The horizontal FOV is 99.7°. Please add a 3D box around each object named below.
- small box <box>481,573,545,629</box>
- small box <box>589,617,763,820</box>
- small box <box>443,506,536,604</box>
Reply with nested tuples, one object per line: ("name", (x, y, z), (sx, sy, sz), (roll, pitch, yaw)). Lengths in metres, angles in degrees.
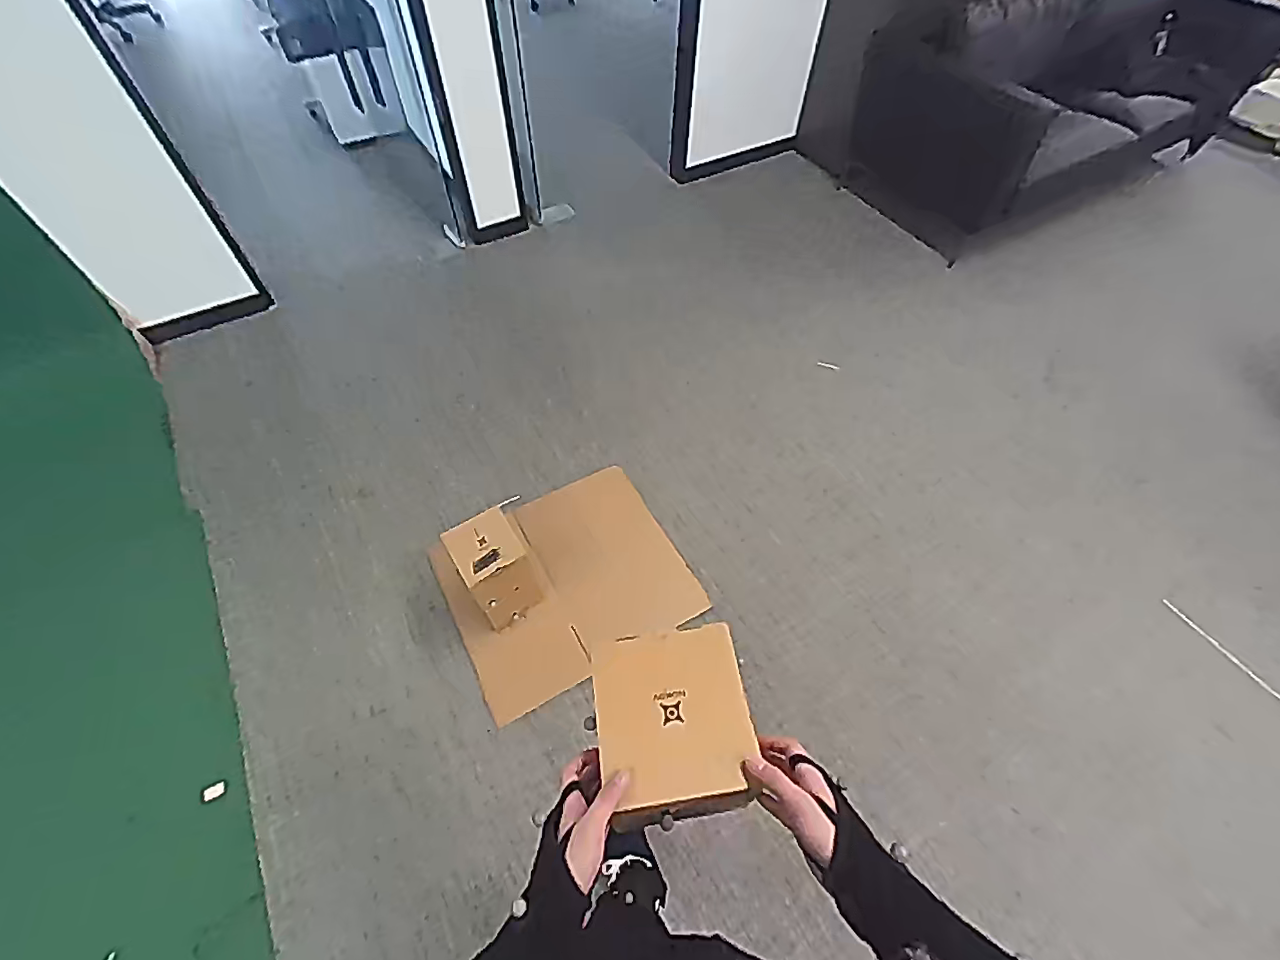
("small box", (-0.394, 0.299, 1.567), (0.168, 0.176, 0.179), (-32, 63, -20))
("small box", (0.037, 0.288, 0.640), (0.168, 0.176, 0.179), (-9, 51, -3))
("small box", (-0.391, 0.208, 1.431), (0.168, 0.176, 0.179), (-29, 61, -19))
